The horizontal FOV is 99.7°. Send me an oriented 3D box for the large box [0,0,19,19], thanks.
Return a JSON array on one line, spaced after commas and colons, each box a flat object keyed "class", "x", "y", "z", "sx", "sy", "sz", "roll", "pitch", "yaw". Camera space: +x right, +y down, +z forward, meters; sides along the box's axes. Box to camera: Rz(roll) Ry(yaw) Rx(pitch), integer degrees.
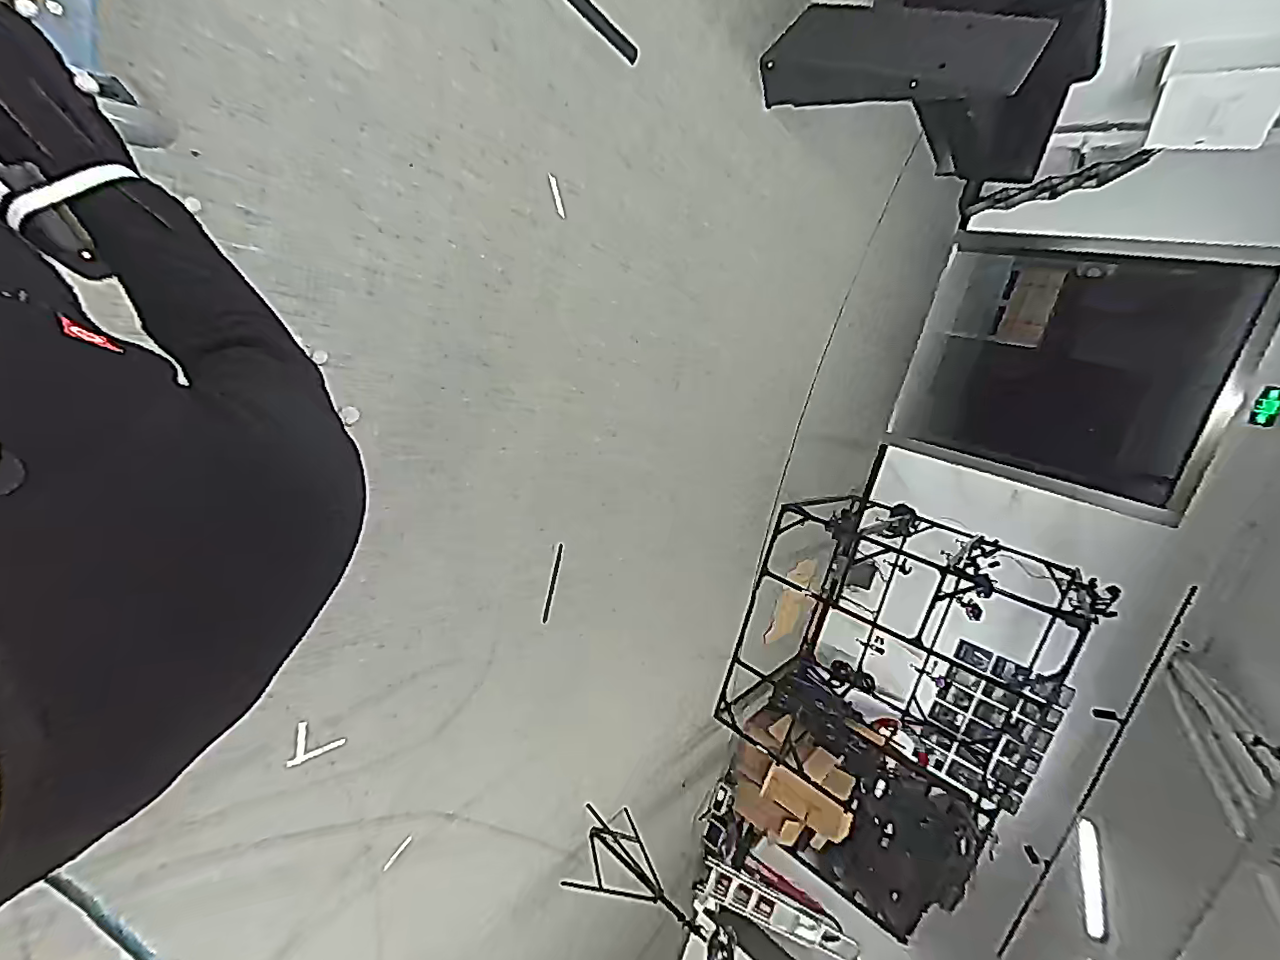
[{"class": "large box", "x": -0.886, "y": -0.715, "z": 0.488, "sx": 0.408, "sy": 0.320, "sz": 0.320, "roll": -10, "pitch": 118, "yaw": -53}]
